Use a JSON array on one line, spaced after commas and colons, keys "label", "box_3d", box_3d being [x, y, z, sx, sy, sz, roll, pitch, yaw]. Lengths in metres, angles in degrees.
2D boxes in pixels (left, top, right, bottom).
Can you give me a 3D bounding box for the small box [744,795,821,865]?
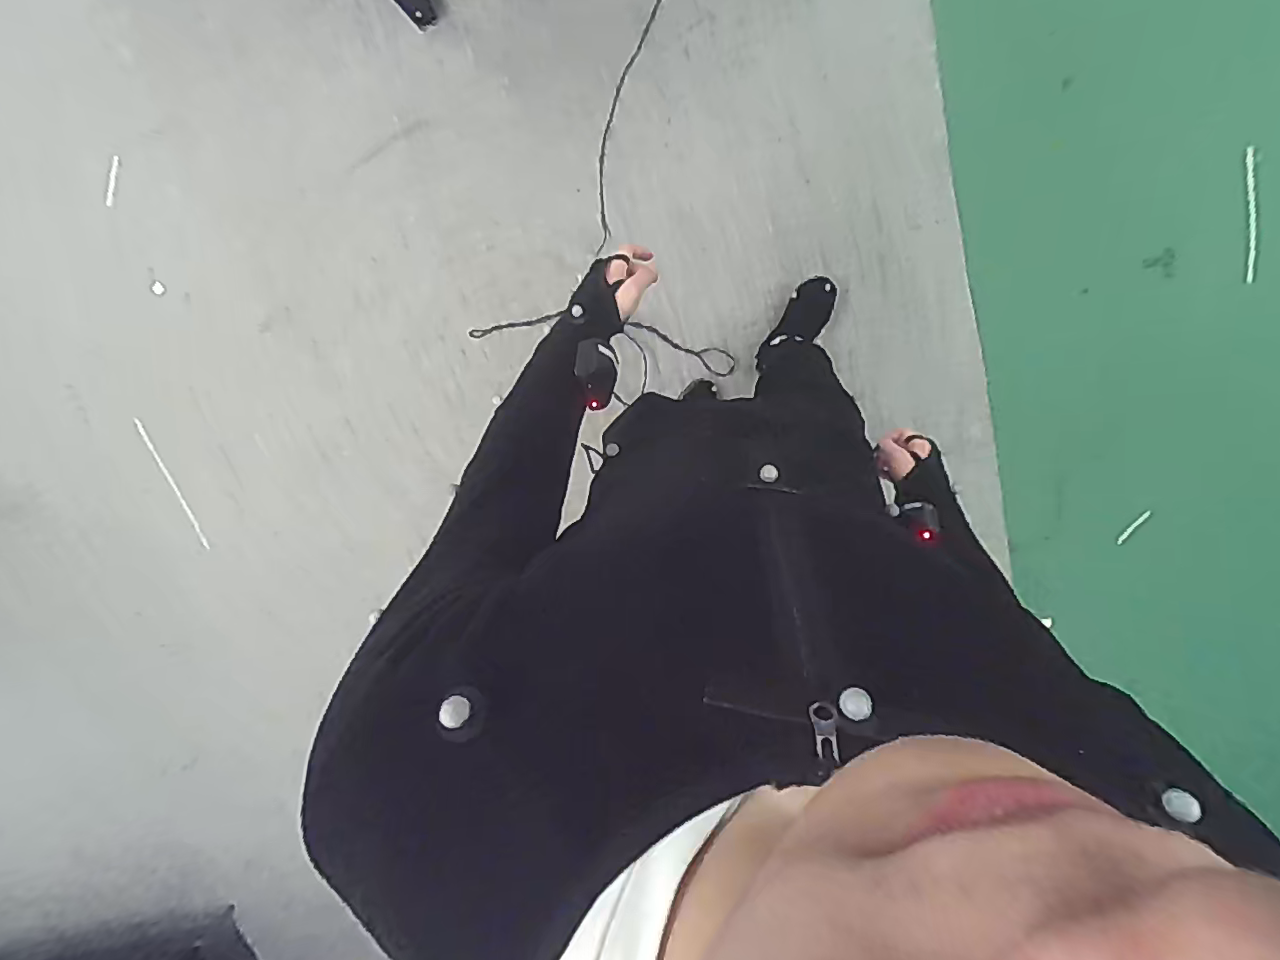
[{"label": "small box", "box_3d": [0.361, 0.932, 1.353, 0.168, 0.176, 0.179, -12, 102, 8]}]
